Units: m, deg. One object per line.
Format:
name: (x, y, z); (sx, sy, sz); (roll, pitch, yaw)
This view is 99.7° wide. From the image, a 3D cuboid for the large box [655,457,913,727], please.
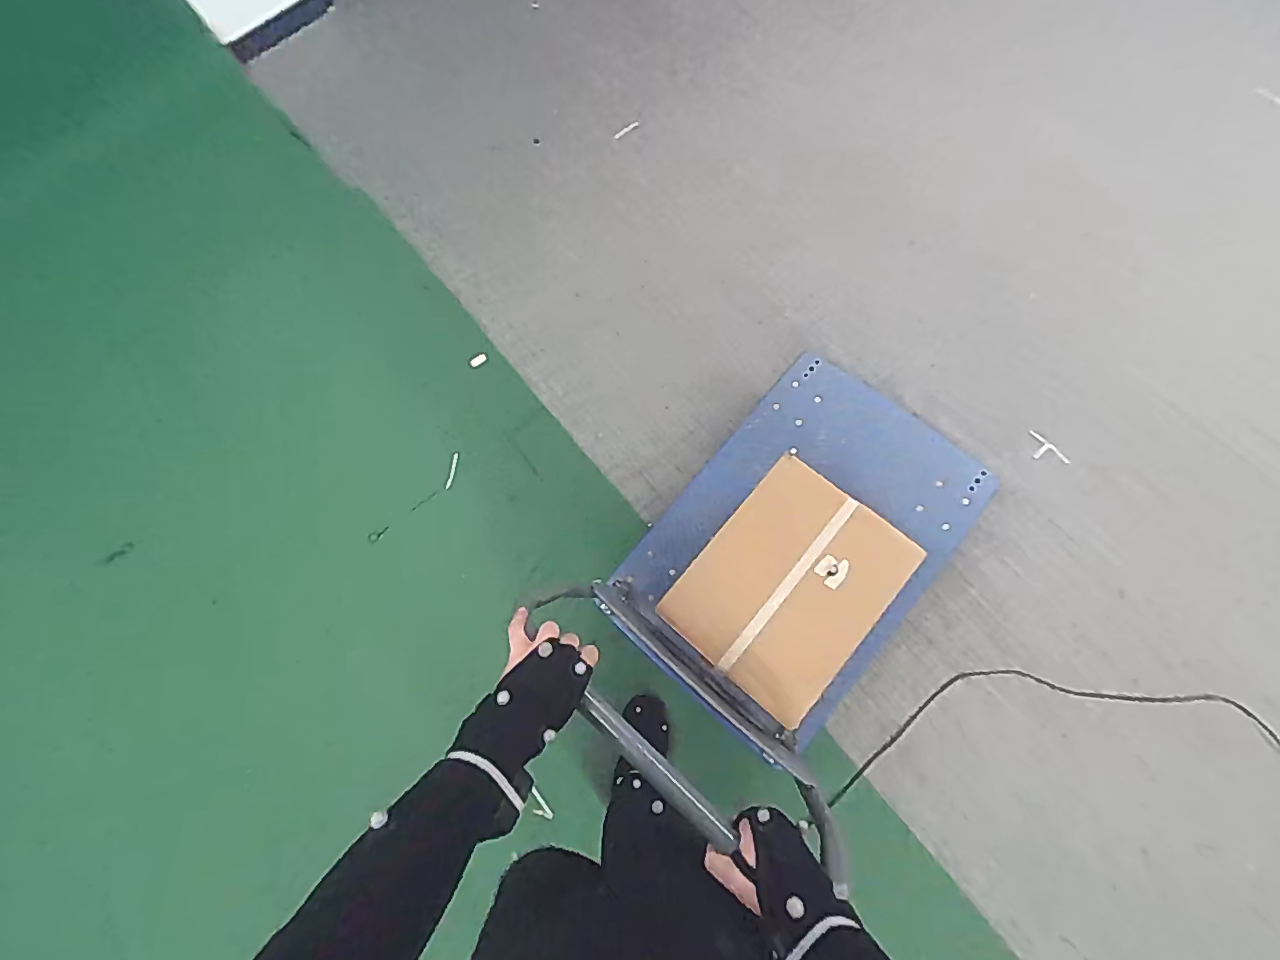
large box: (0.277, 0.236, 1.139); (0.320, 0.320, 0.408); (39, 80, 14)
